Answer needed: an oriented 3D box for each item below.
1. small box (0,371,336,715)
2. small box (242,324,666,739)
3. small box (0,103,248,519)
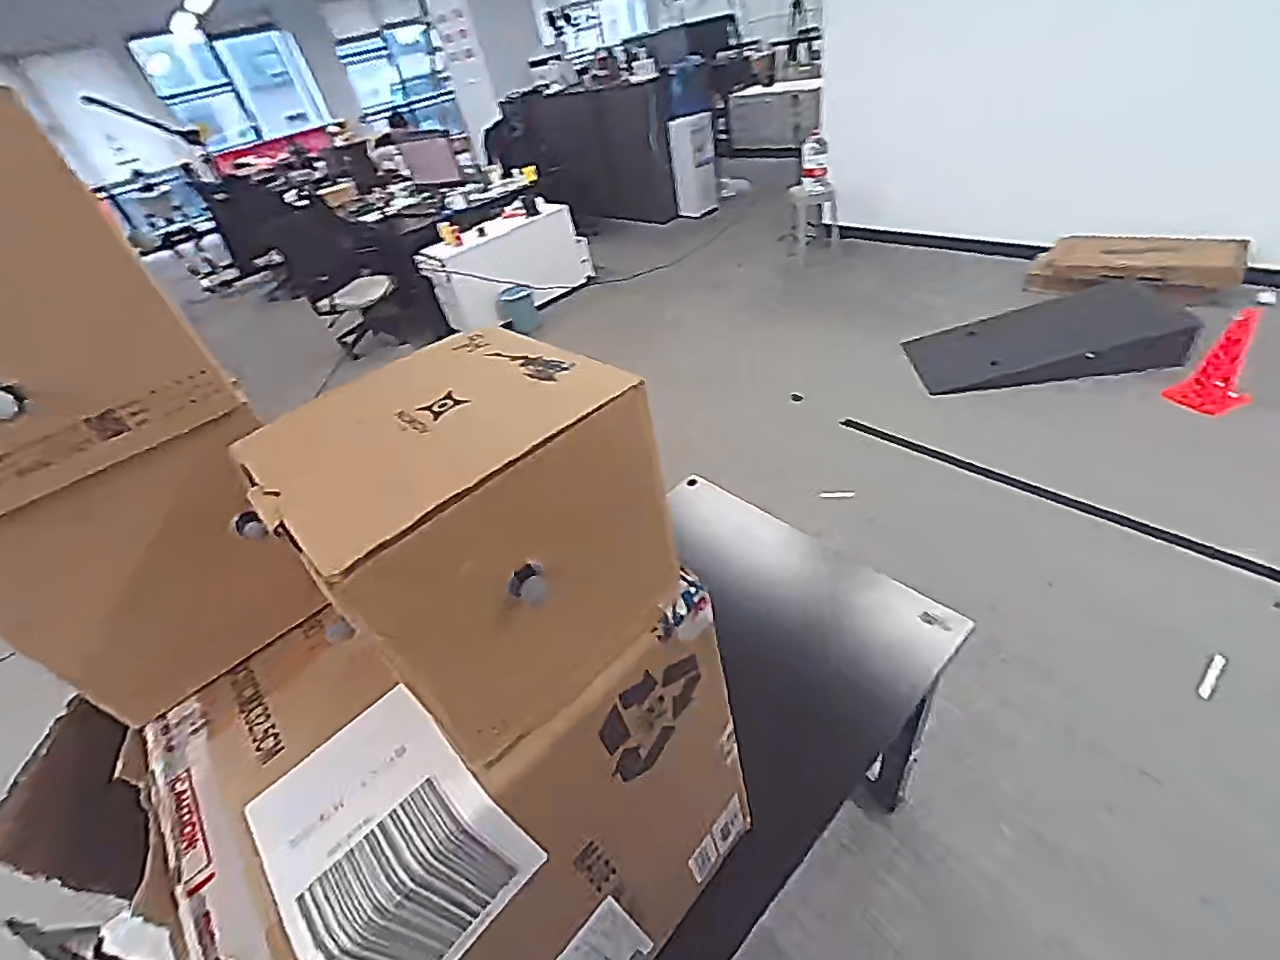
[{"bbox_3d":[-0.347,0.034,0.416,0.179,0.176,0.168,-39,42,-27],"label":"small box"},{"bbox_3d":[-0.101,0.026,0.352,0.168,0.176,0.179,29,55,37],"label":"small box"},{"bbox_3d":[-0.375,-0.093,0.314,0.168,0.176,0.179,-37,42,-28],"label":"small box"}]
